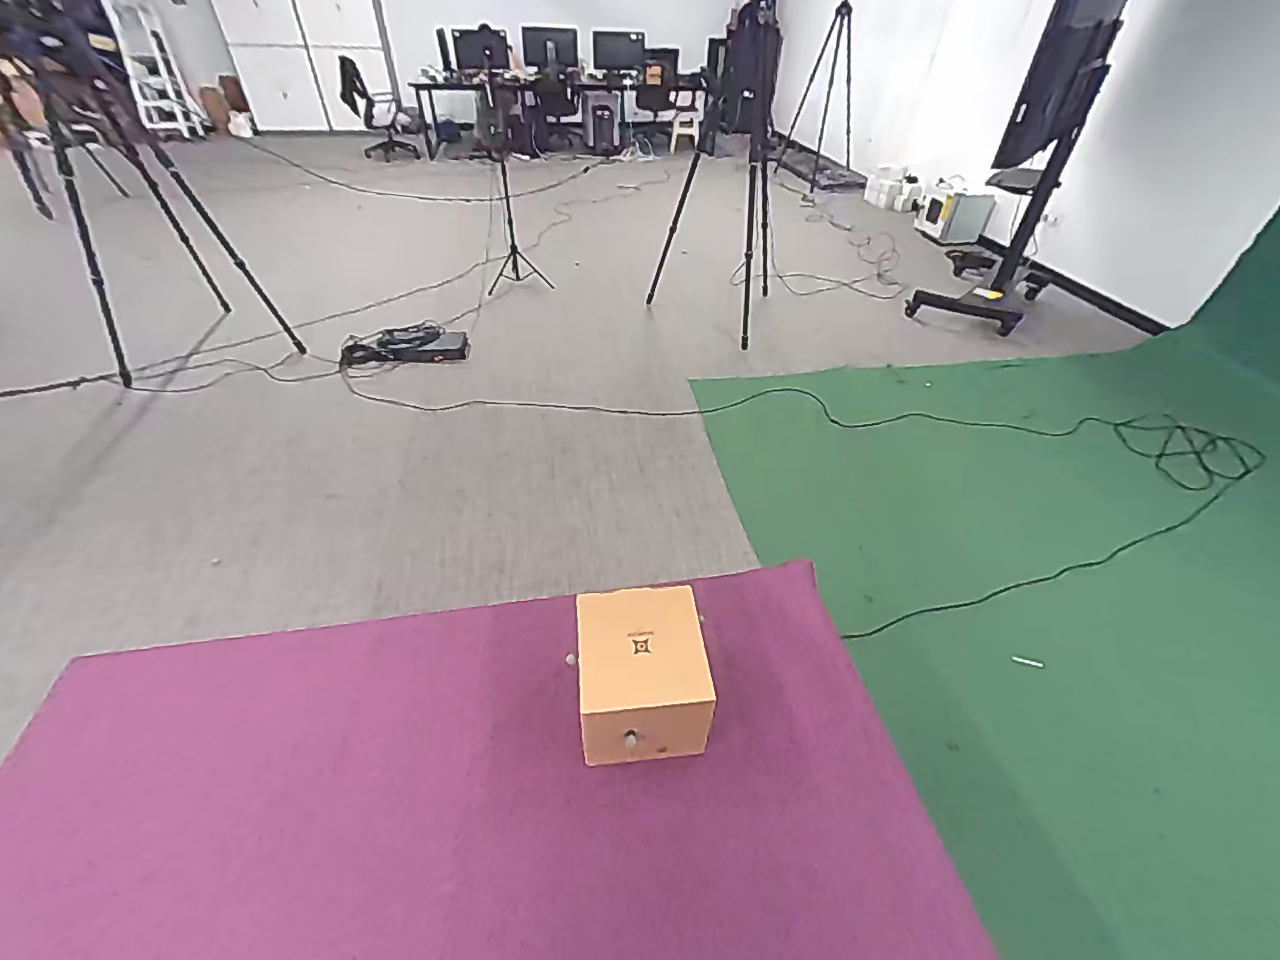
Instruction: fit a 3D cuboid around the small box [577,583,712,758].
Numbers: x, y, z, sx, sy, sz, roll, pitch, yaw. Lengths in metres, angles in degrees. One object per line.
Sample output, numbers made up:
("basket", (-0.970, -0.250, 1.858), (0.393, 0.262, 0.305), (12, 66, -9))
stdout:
("small box", (0.000, 0.271, 0.761), (0.168, 0.176, 0.179), (-4, 41, -5))
